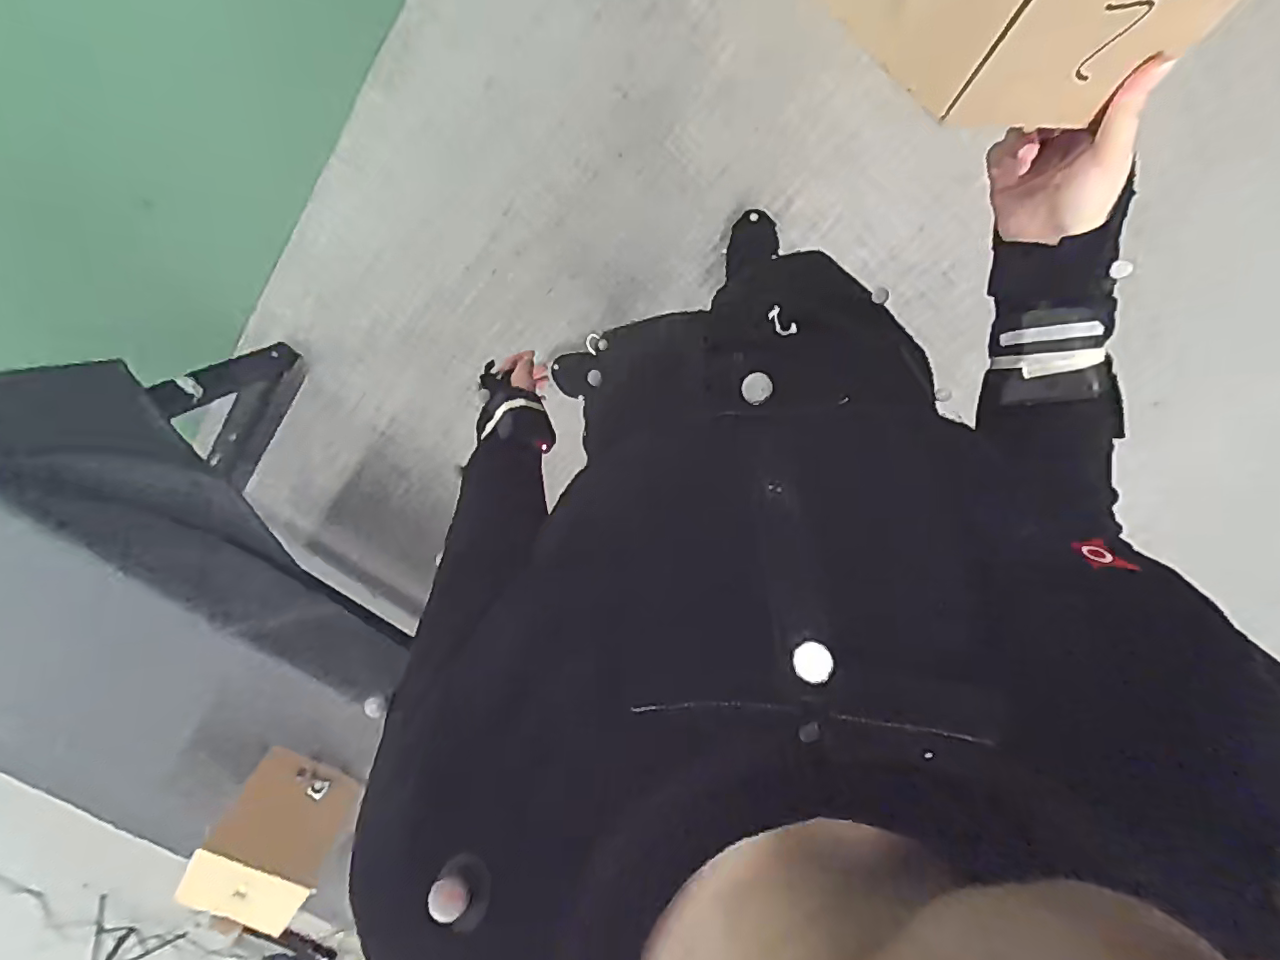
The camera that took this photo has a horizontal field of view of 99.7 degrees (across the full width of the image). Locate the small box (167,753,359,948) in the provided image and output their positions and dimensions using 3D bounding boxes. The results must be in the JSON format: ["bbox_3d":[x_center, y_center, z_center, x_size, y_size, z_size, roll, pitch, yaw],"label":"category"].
[{"bbox_3d":[-0.574,0.572,0.844,0.168,0.176,0.179,30,114,-12],"label":"small box"}]
